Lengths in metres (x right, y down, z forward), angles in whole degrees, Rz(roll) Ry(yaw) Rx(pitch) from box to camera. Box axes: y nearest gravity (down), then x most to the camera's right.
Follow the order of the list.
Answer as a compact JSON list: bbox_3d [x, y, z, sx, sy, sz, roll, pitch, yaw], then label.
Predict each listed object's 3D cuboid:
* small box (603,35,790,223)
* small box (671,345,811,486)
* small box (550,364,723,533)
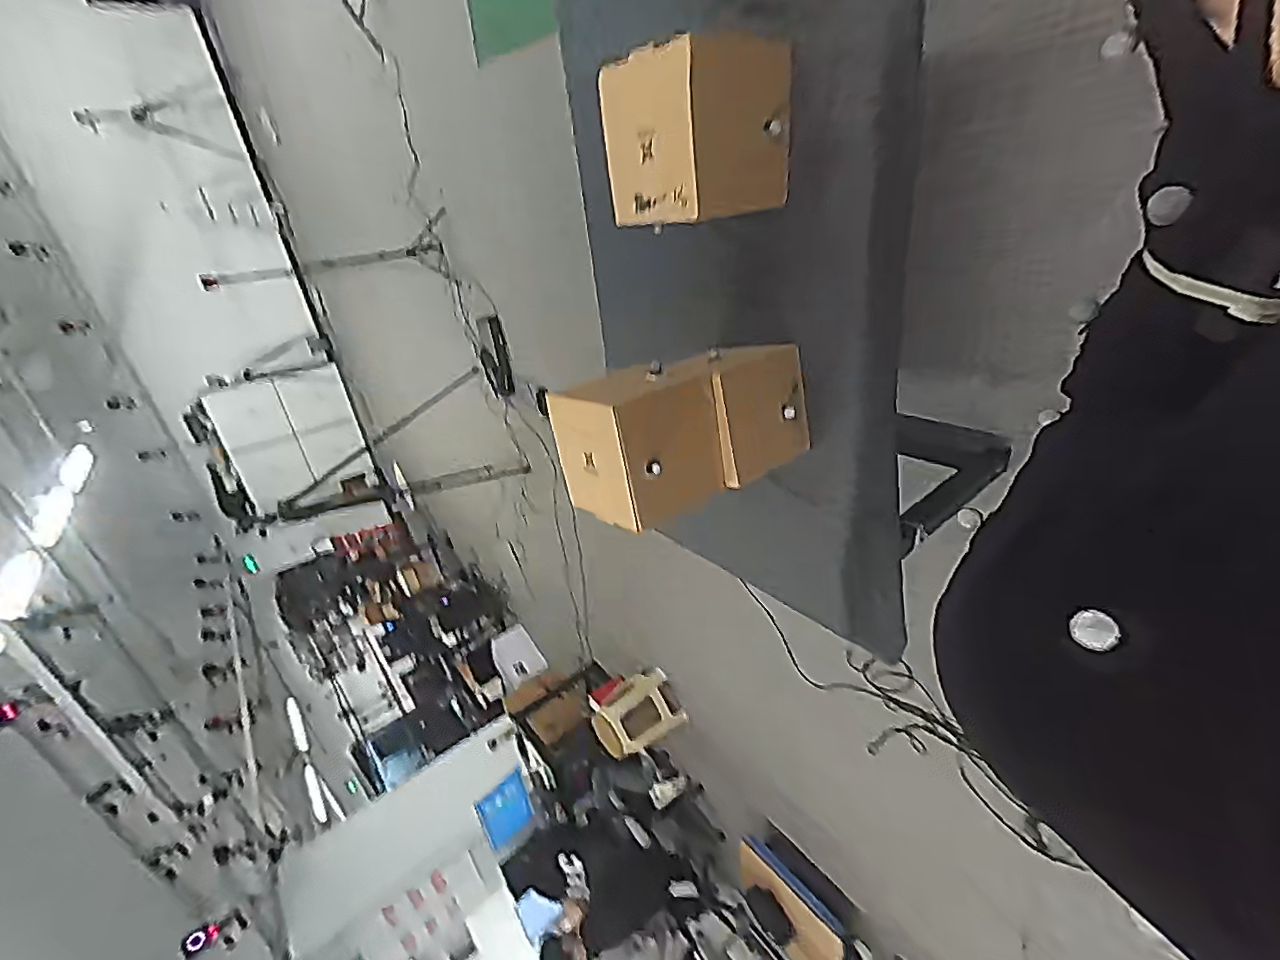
[{"bbox_3d":[0.075,-0.435,0.694,0.168,0.176,0.179,26,132,46],"label":"small box"},{"bbox_3d":[0.137,-0.106,0.838,0.179,0.176,0.168,13,122,52],"label":"small box"},{"bbox_3d":[0.001,-0.054,0.765,0.168,0.176,0.179,17,125,49],"label":"small box"}]
